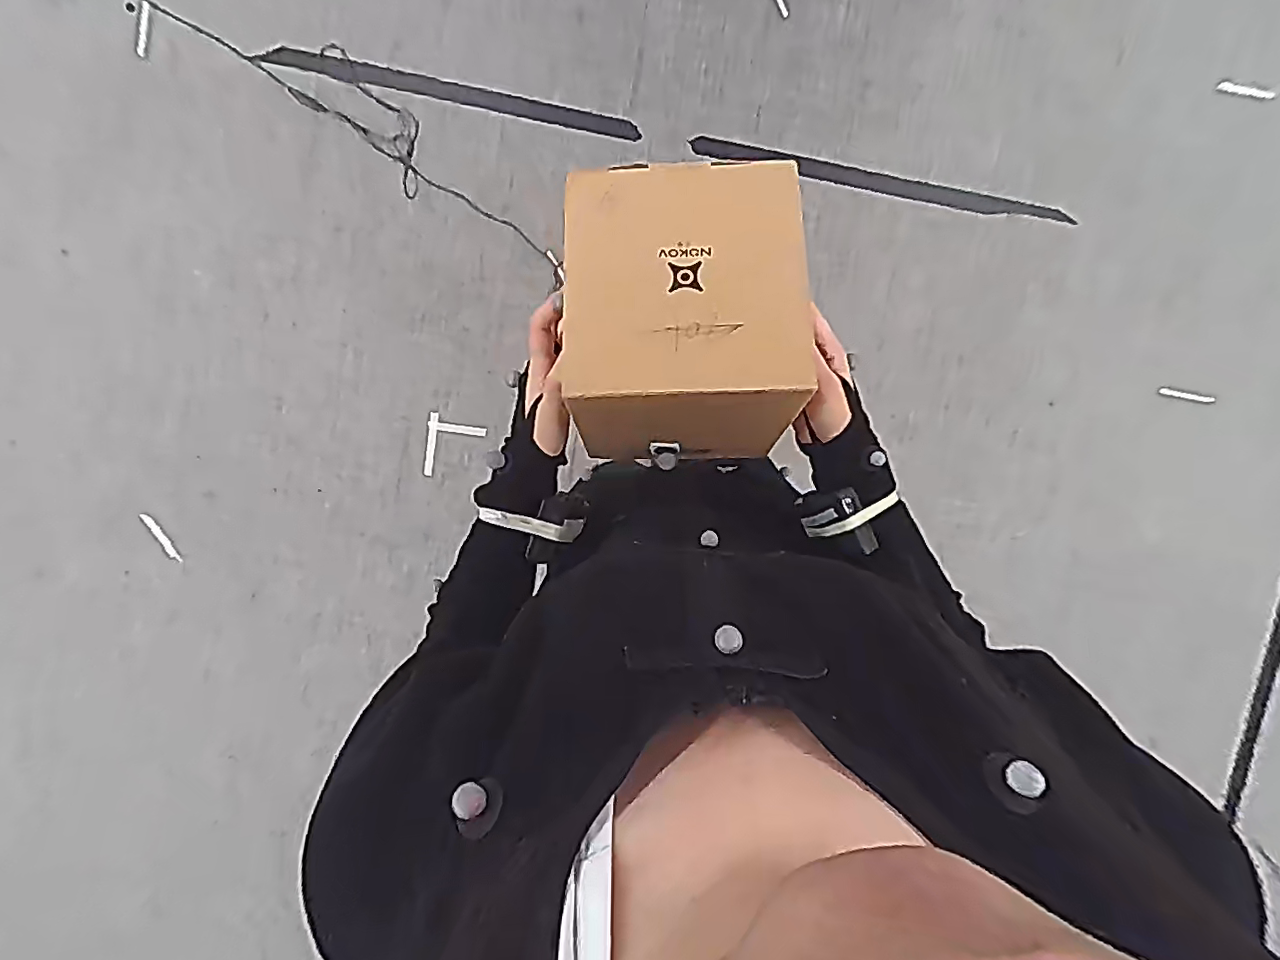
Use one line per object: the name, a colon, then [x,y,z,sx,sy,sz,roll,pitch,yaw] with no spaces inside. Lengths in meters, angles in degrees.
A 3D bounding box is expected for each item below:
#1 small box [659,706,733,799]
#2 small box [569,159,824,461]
small box: [0.146,0.730,1.463,0.179,0.176,0.168,-2,94,-2]
small box: [0.036,-0.122,0.440,0.168,0.176,0.179,-2,78,2]
